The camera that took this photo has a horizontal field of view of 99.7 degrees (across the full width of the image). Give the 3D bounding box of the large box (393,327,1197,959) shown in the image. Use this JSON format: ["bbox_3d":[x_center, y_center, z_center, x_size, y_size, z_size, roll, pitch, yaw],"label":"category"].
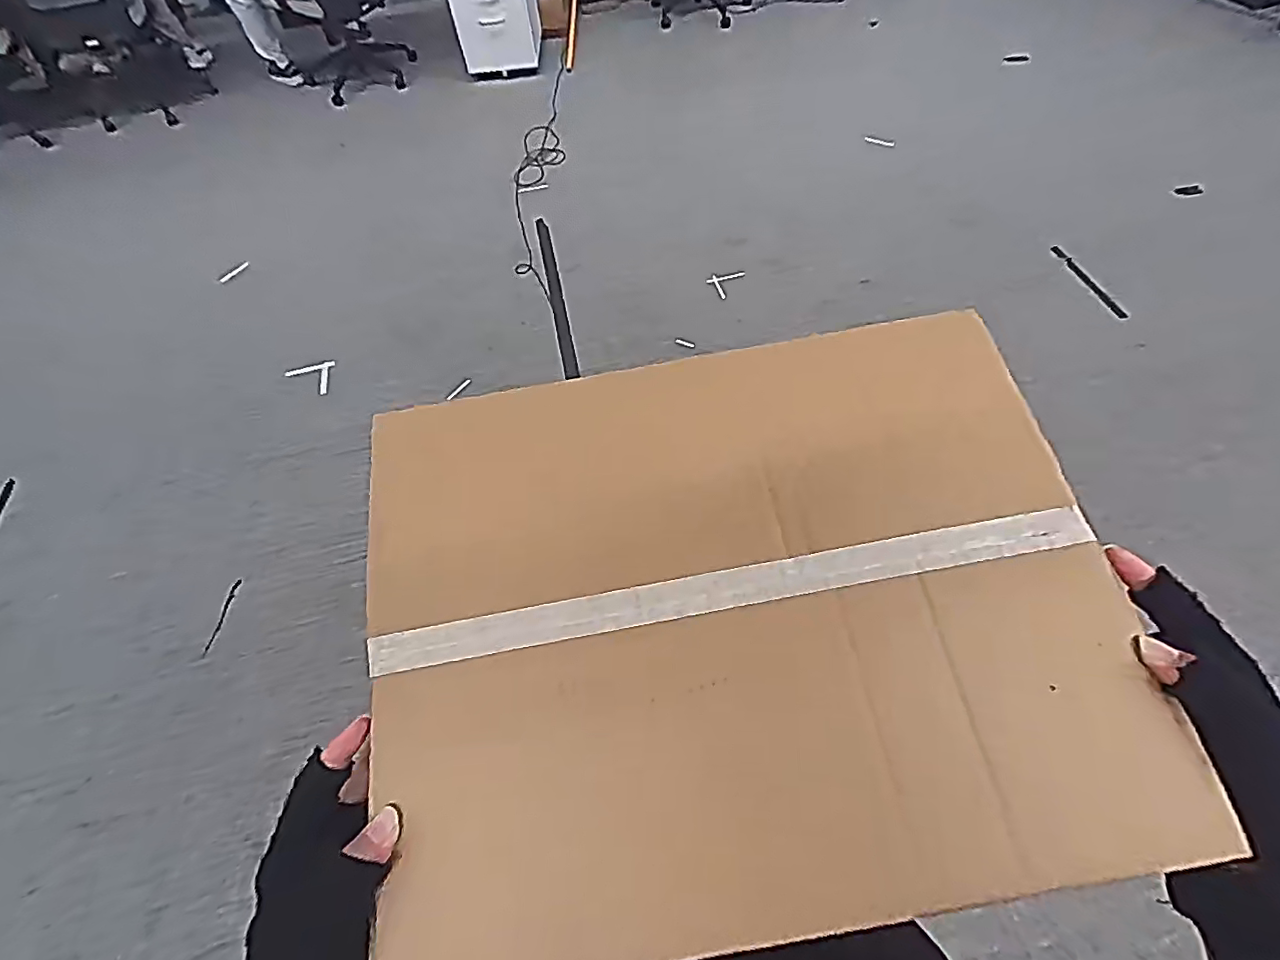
[{"bbox_3d":[0.059,0.126,0.453,0.408,0.320,0.320,-11,68,-1],"label":"large box"}]
